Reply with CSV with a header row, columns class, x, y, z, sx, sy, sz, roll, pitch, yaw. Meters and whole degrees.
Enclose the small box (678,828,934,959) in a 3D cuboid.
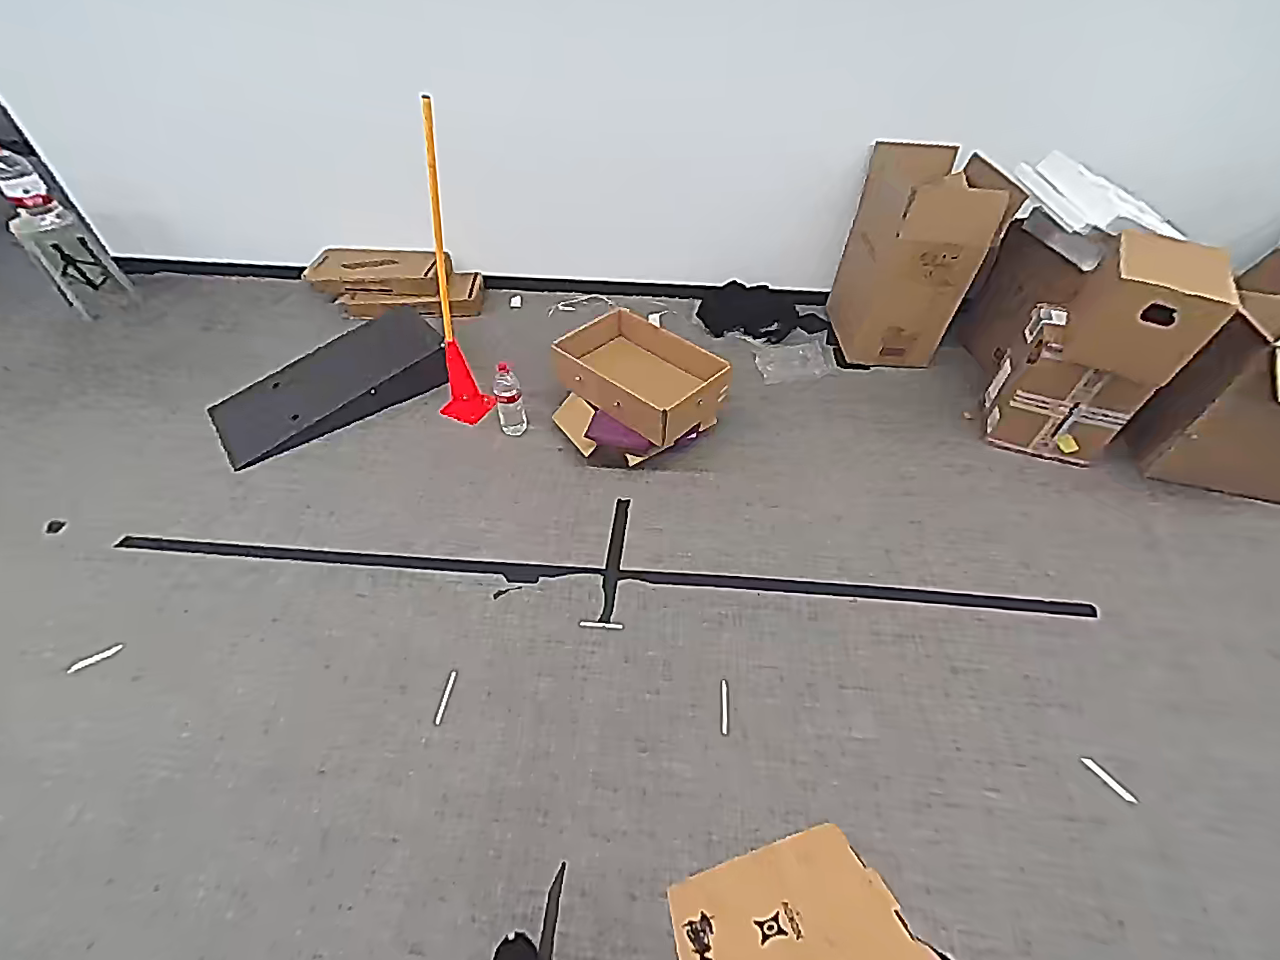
class,x,y,z,sx,sy,sz,roll,pitch,yaw
small box,0.147,0.445,0.448,0.179,0.168,0.176,-17,91,-4
